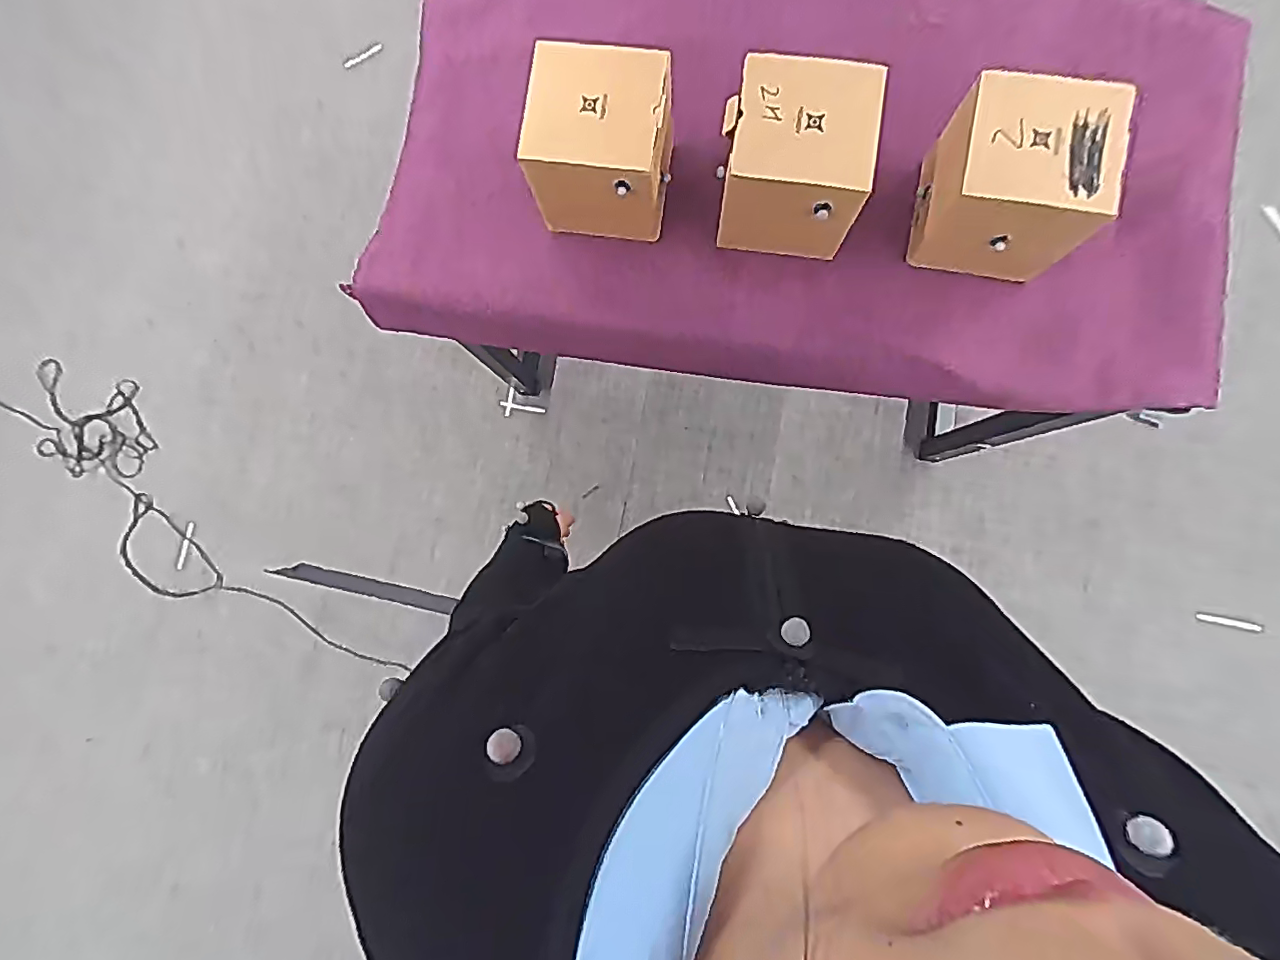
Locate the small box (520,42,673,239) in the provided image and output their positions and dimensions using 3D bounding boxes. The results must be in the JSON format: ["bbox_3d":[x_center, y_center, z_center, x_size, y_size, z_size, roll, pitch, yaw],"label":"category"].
[{"bbox_3d":[-0.051,-0.463,0.761,0.179,0.176,0.168,7,85,4],"label":"small box"}]

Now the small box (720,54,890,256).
[{"bbox_3d":[0.213,-0.427,0.737,0.179,0.176,0.168,9,85,5],"label":"small box"}]
